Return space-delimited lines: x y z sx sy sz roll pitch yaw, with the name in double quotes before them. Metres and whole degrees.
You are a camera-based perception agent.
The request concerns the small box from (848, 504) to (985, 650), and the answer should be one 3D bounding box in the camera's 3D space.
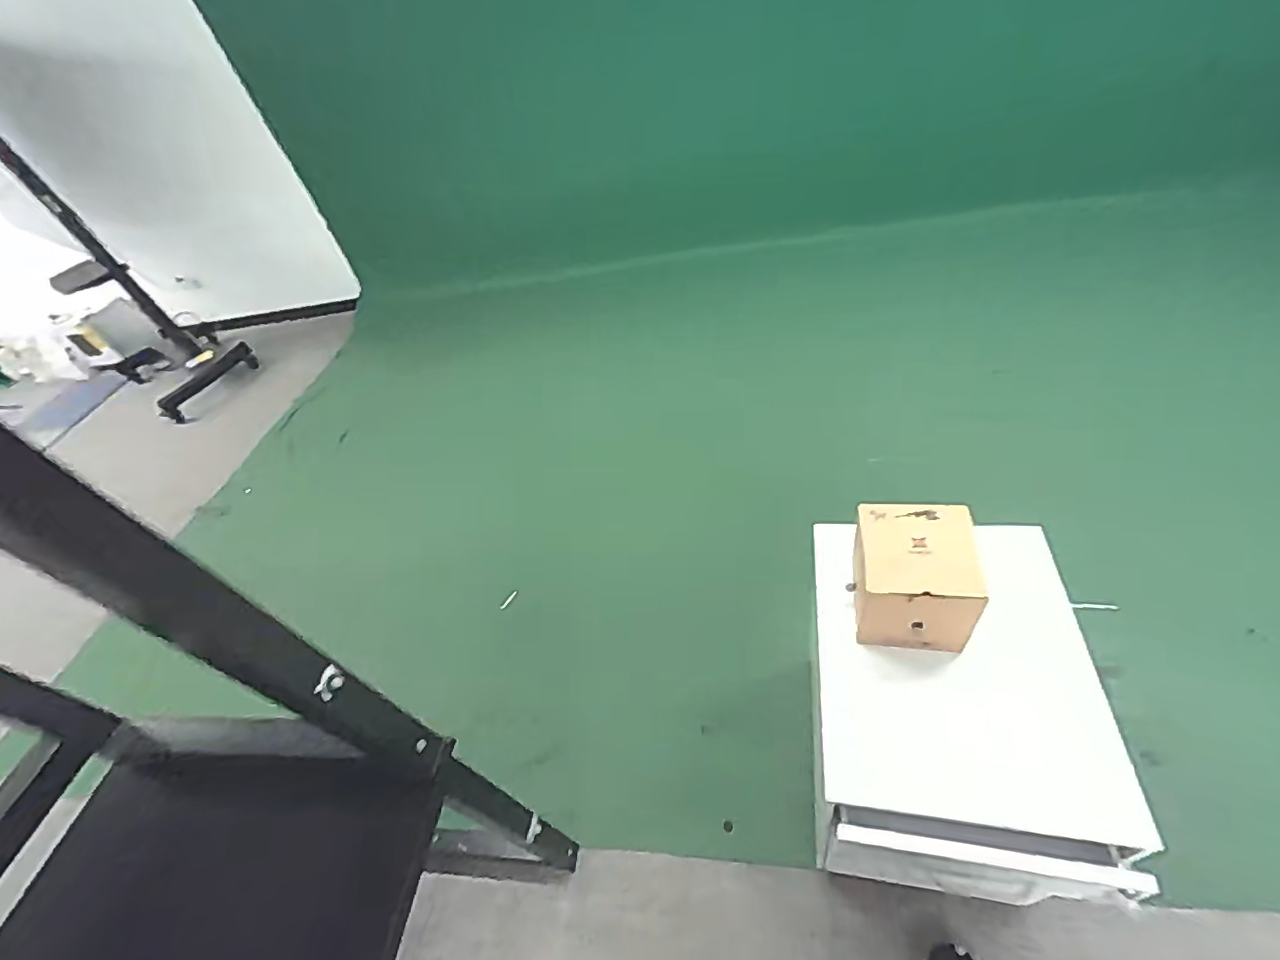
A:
"small box" 0.437 0.159 0.884 0.168 0.176 0.179 1 48 15
